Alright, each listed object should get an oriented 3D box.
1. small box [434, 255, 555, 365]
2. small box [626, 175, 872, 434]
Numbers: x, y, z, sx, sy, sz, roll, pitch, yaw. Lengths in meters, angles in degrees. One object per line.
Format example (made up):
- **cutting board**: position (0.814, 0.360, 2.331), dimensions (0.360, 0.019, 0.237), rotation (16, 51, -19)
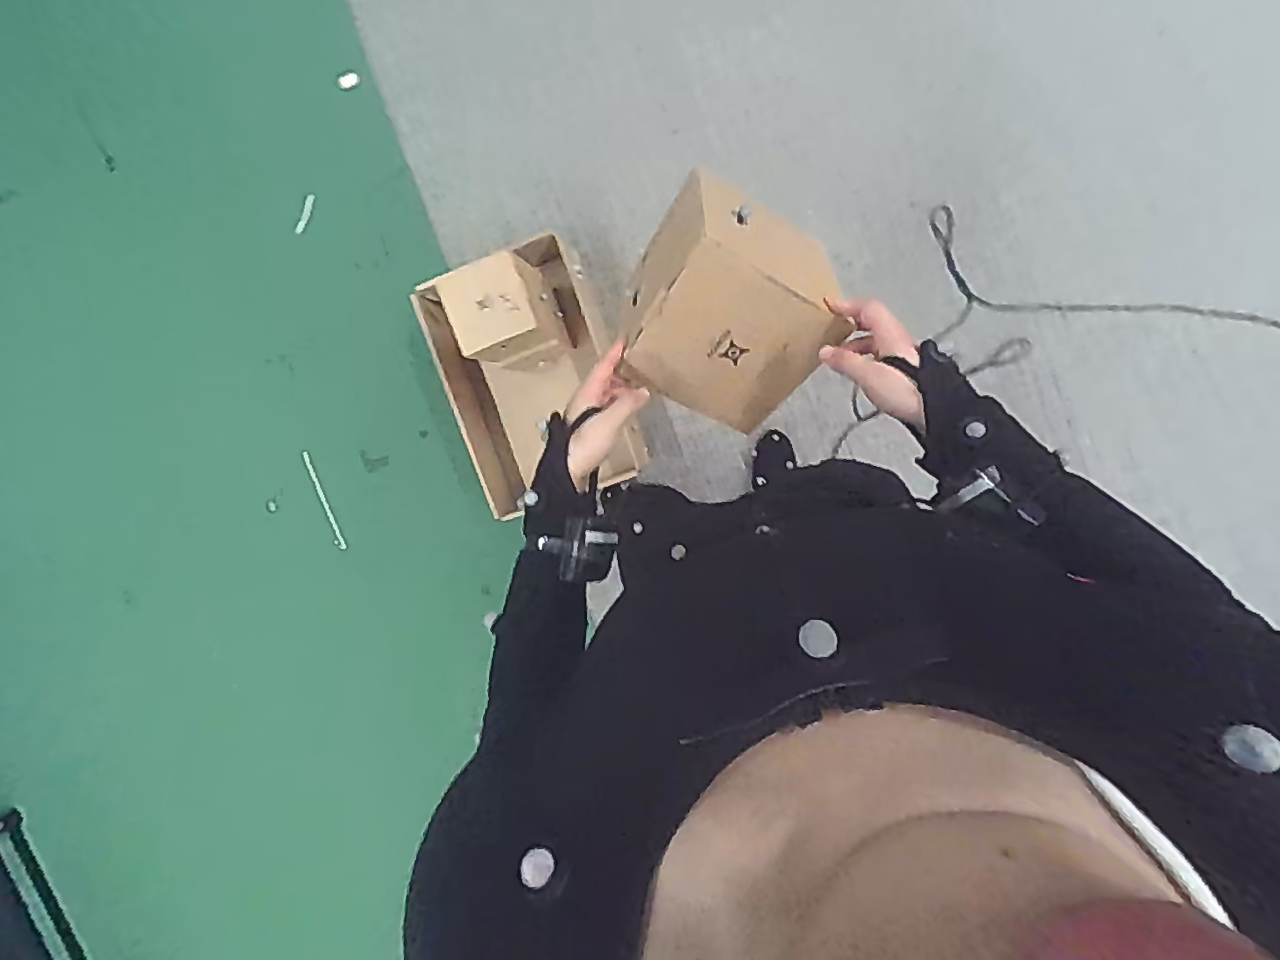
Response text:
- **small box**: position (-0.309, -0.359, 1.181), dimensions (0.179, 0.176, 0.168), rotation (-19, 95, 9)
- **small box**: position (0.101, -0.185, 0.568), dimensions (0.179, 0.176, 0.168), rotation (22, 136, -21)
